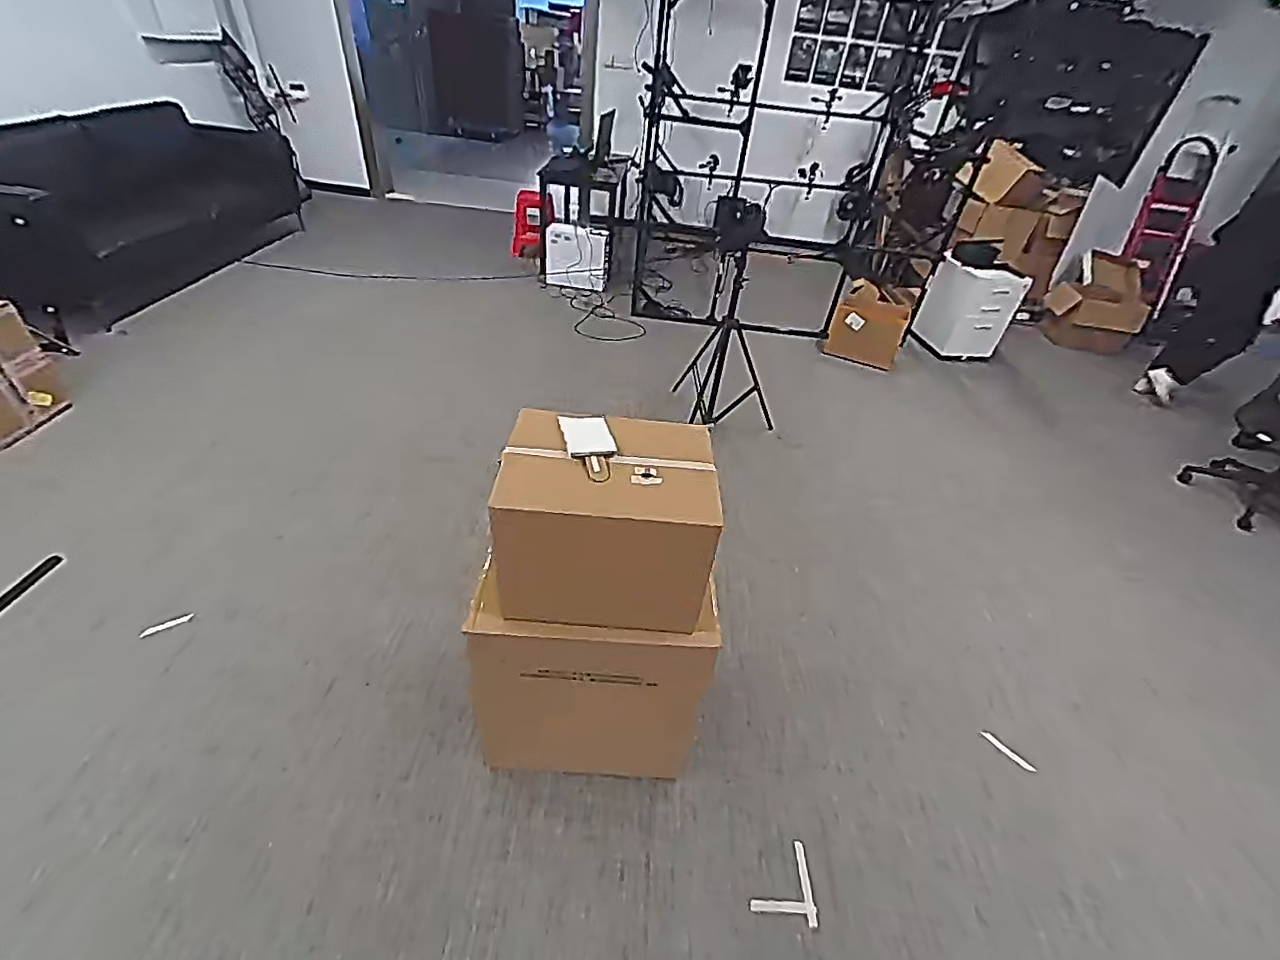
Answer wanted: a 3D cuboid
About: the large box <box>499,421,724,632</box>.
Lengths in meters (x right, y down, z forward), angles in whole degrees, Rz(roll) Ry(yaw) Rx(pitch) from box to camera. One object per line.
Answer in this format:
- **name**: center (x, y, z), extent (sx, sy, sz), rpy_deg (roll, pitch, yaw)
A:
- **large box**: center (-0.065, 0.098, 1.145), extent (0.408, 0.320, 0.320), rpy_deg (5, 39, -4)
